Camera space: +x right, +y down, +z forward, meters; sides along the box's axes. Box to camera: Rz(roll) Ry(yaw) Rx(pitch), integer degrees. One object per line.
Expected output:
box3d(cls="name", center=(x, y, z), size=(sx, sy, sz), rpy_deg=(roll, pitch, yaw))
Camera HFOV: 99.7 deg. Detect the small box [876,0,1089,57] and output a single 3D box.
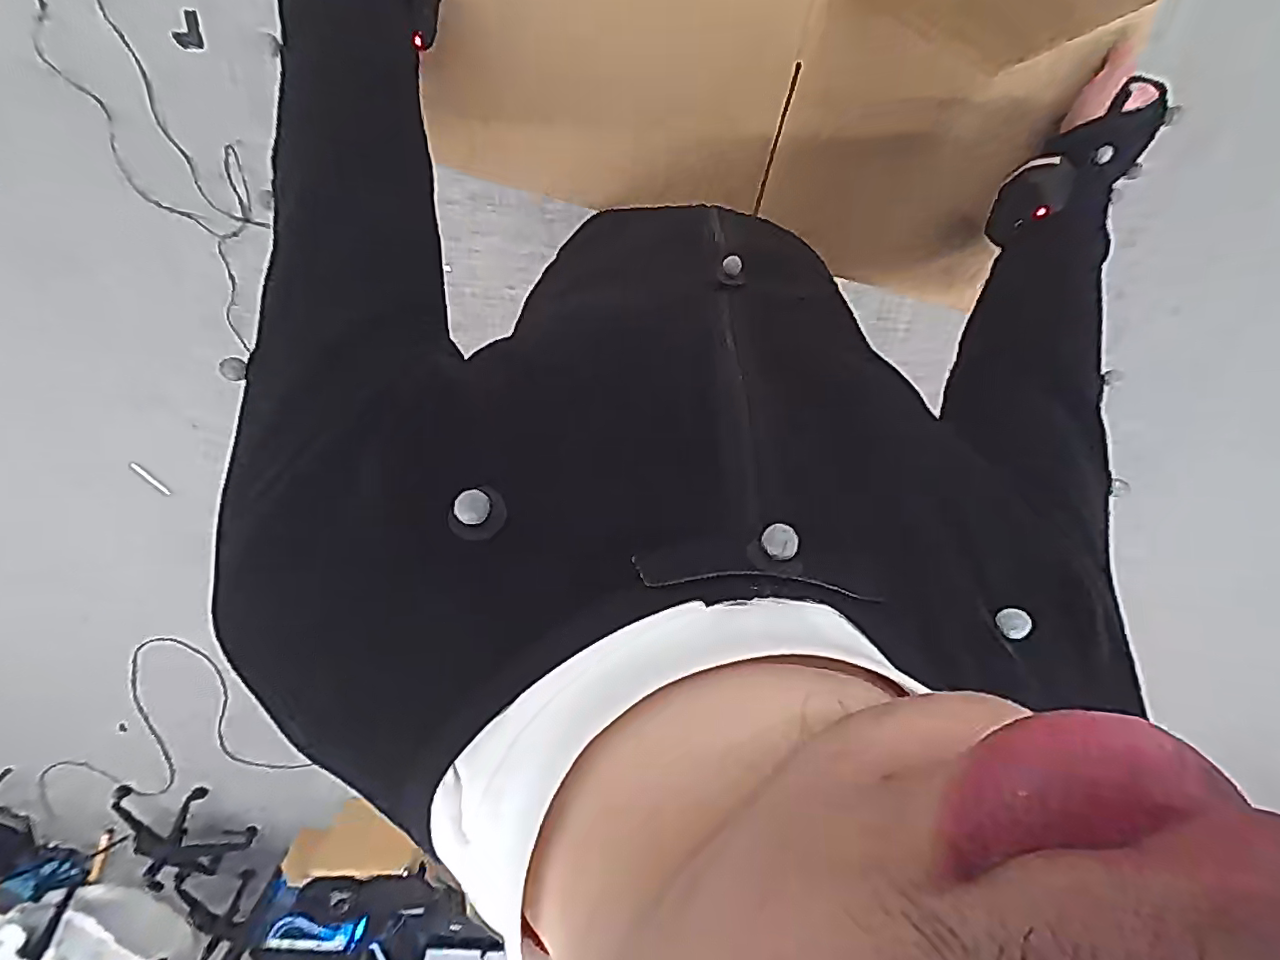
box3d(cls="small box", center=(0.270, -0.439, 0.373), size=(0.179, 0.176, 0.168), rpy_deg=(21, 112, -10))
